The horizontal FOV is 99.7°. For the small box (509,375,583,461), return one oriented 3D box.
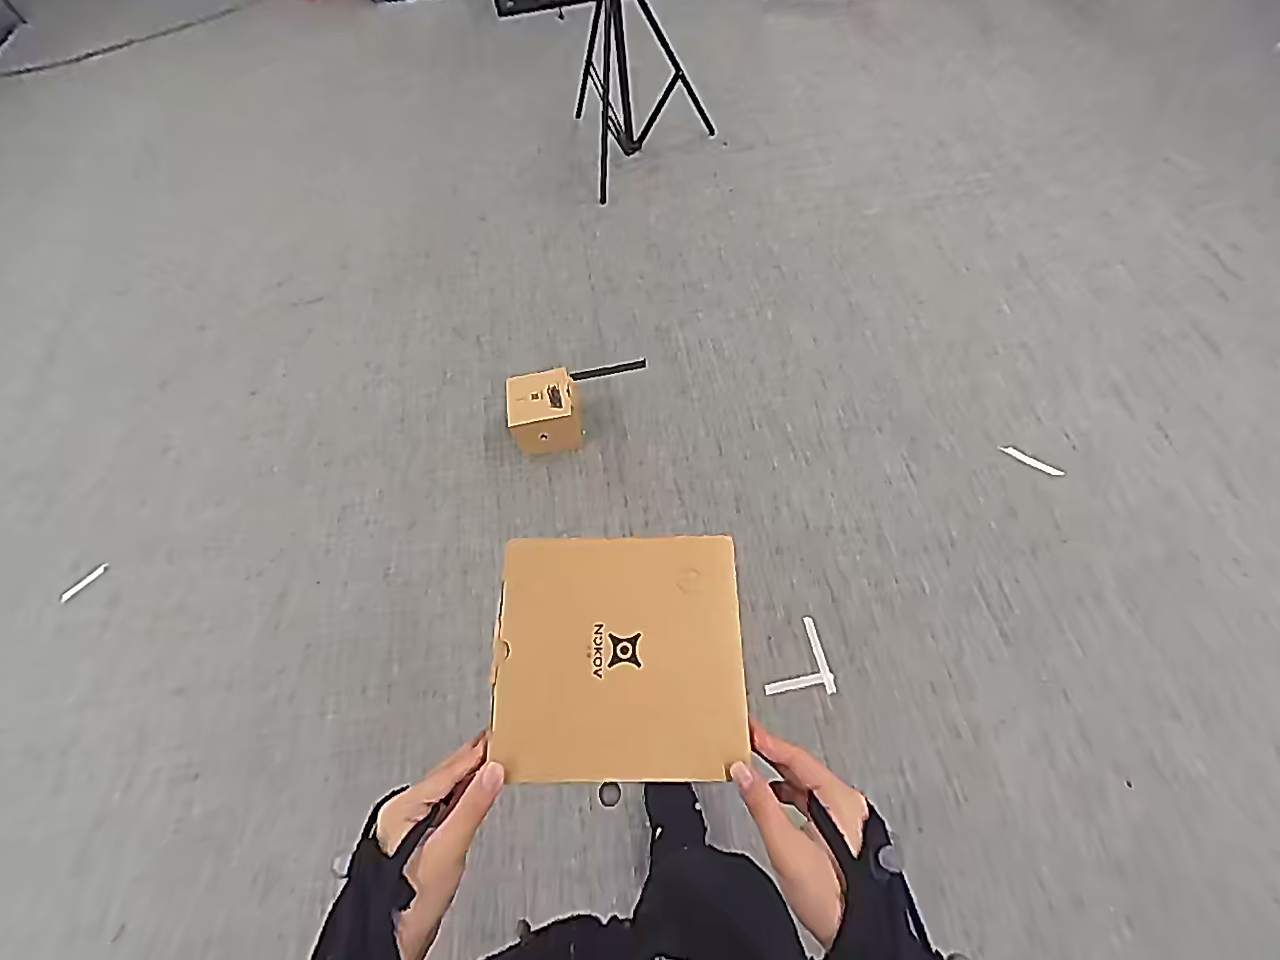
[{"bbox_3d":[-0.264,-0.173,1.546,0.179,0.176,0.168,-10,62,2],"label":"small box"}]

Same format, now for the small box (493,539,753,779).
[{"bbox_3d":[-0.009,0.152,0.461,0.179,0.176,0.168,-2,66,3],"label":"small box"}]
